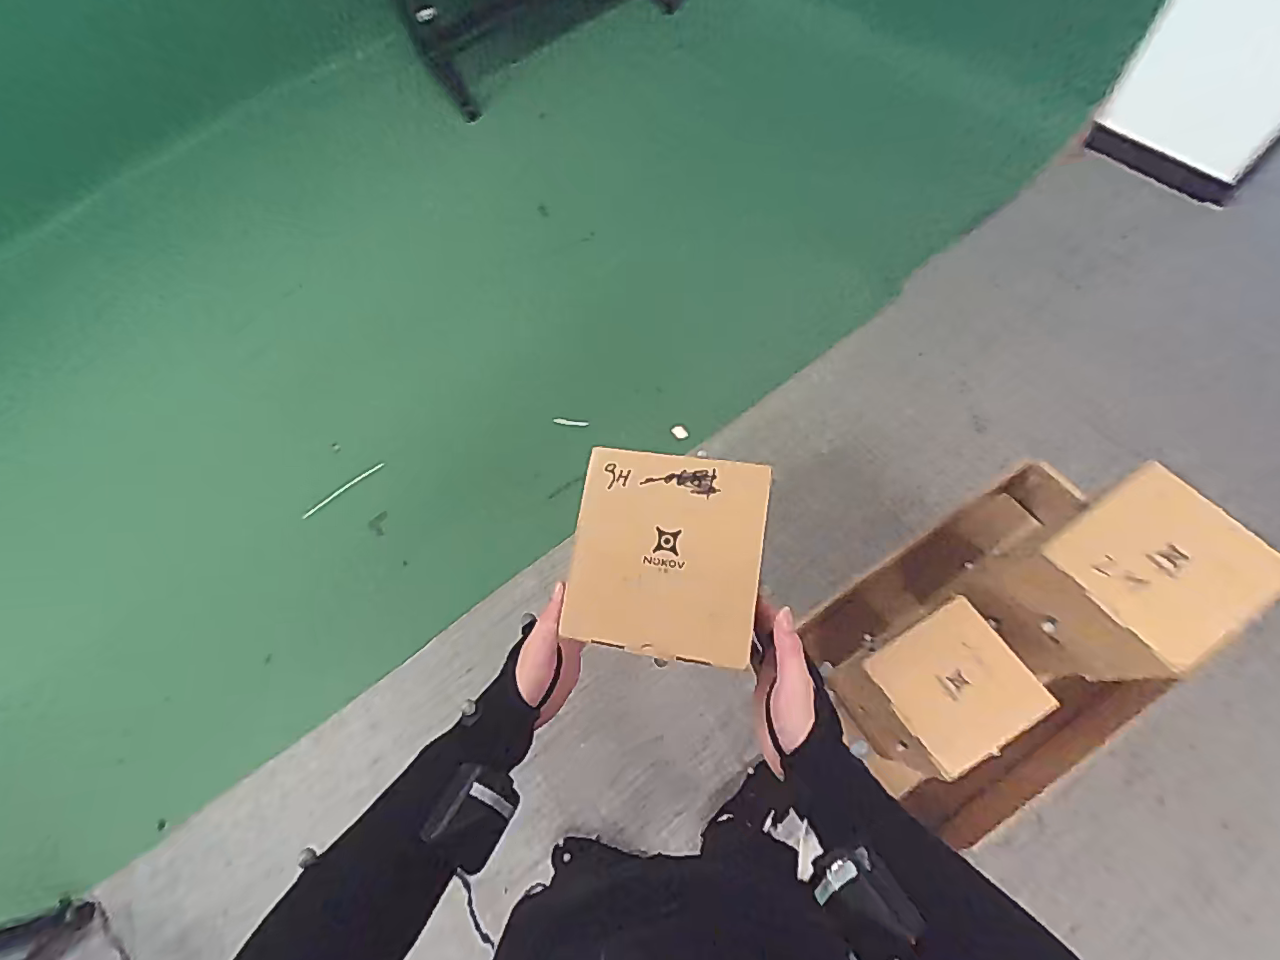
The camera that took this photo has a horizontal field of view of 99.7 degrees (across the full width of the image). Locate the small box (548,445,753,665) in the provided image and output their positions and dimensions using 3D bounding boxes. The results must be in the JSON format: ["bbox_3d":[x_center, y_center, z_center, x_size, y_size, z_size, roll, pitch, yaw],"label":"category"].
[{"bbox_3d":[0.024,0.075,0.543,0.168,0.176,0.179,5,78,12],"label":"small box"}]

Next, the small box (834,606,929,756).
[{"bbox_3d":[0.454,0.345,0.923,0.179,0.176,0.168,-33,66,-6],"label":"small box"}]

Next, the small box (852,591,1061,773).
[{"bbox_3d":[0.427,0.287,0.772,0.179,0.176,0.168,-31,66,-5],"label":"small box"}]

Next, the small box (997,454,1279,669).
[{"bbox_3d":[0.579,0.105,0.645,0.179,0.176,0.168,-37,66,-3],"label":"small box"}]

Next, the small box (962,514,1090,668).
[{"bbox_3d":[0.623,0.157,0.796,0.179,0.176,0.168,-35,66,-2],"label":"small box"}]
